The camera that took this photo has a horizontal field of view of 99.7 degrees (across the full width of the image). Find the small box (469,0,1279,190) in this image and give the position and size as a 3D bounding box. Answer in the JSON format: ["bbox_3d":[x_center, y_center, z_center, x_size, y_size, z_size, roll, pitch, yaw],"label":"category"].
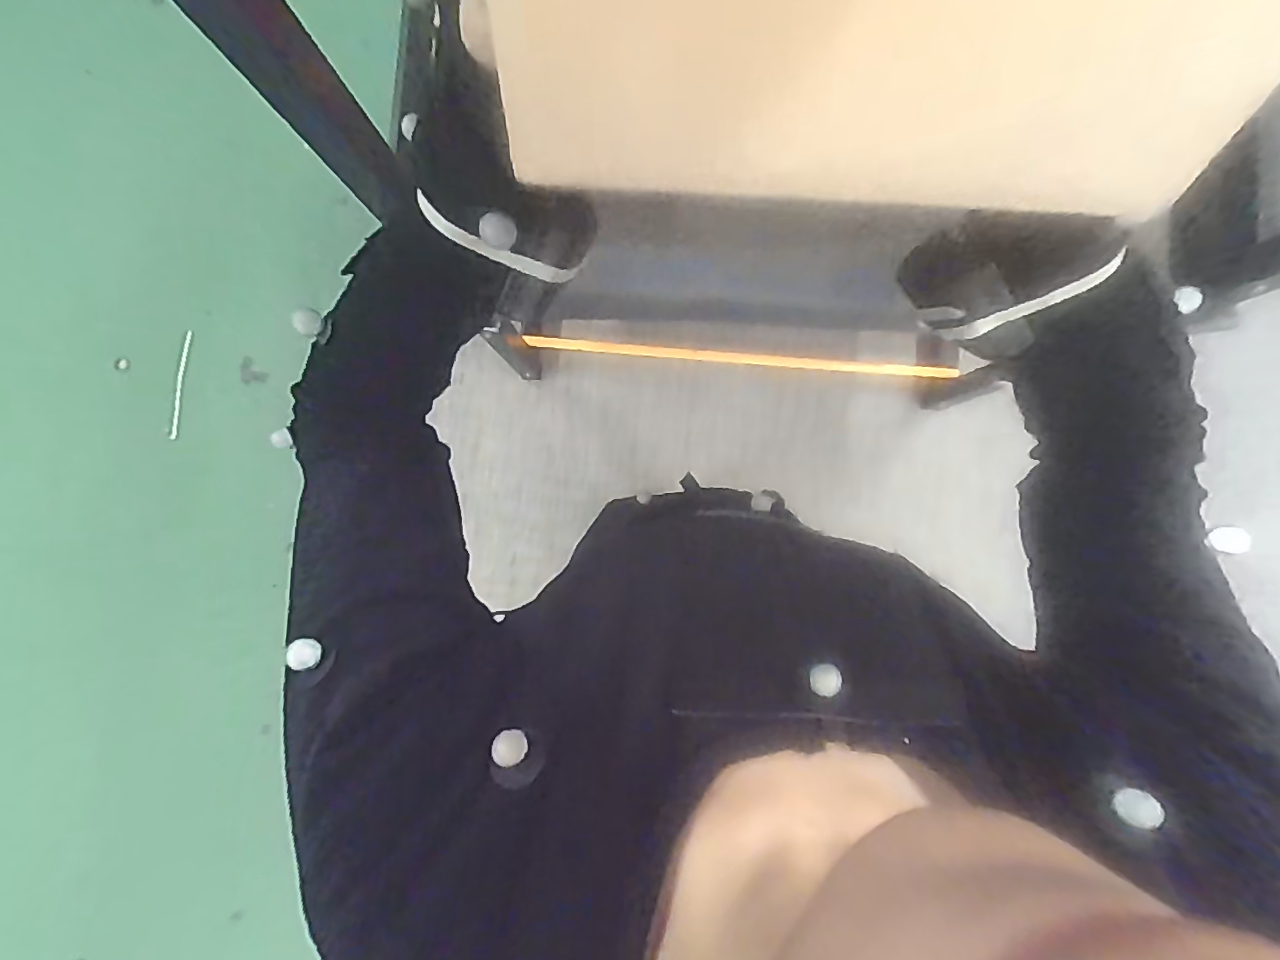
[{"bbox_3d":[0.052,-0.193,0.111,0.168,0.179,0.176,4,55,2],"label":"small box"}]

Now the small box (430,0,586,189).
[{"bbox_3d":[-0.160,-0.521,0.716,0.168,0.176,0.179,2,87,1],"label":"small box"}]
